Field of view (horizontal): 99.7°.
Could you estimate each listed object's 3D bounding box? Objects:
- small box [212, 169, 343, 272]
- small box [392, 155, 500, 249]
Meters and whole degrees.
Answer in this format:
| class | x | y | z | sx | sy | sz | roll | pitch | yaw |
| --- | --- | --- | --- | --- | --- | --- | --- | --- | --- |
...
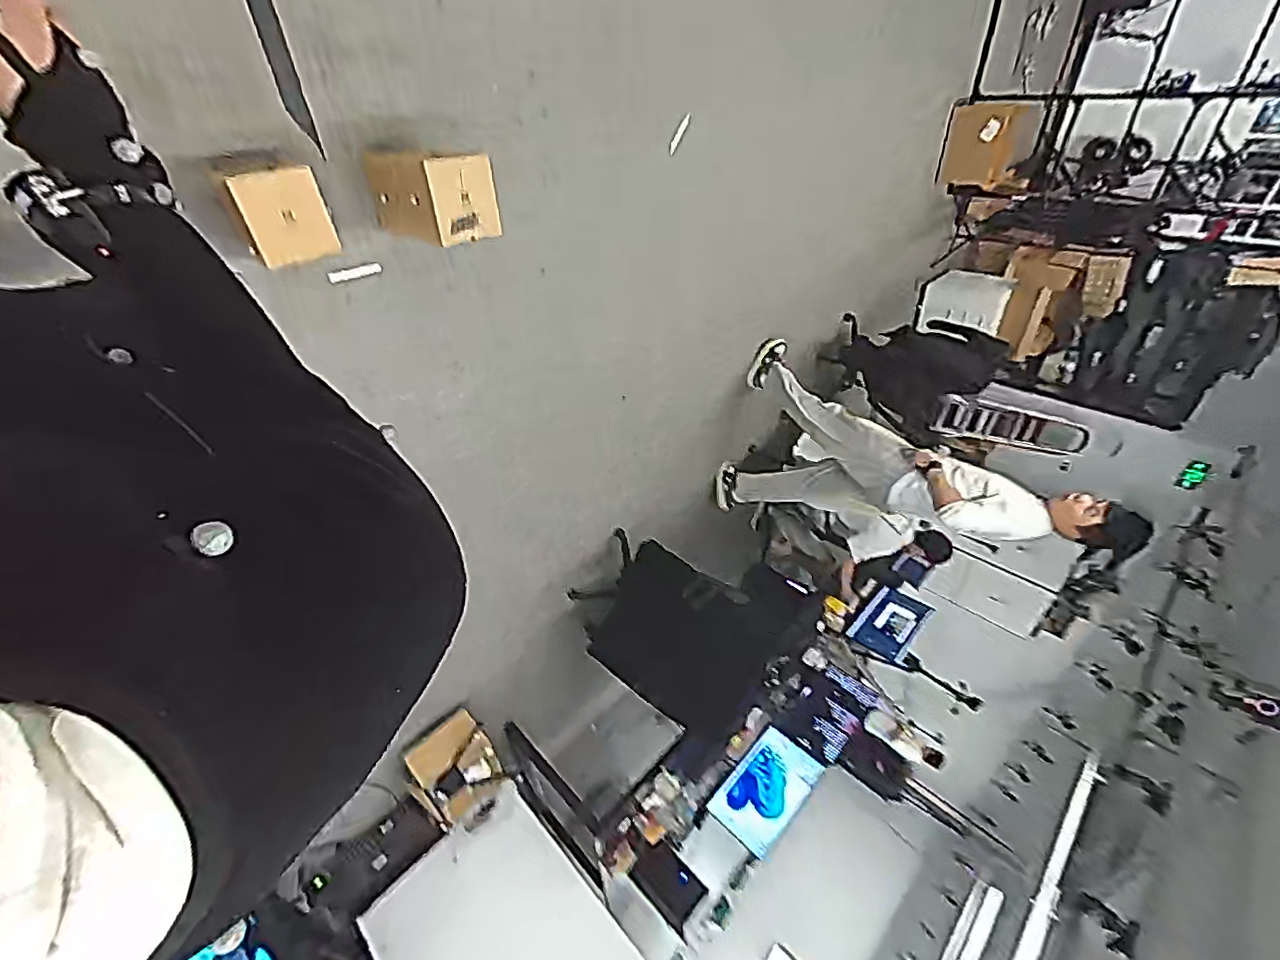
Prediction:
| class | x | y | z | sx | sy | sz | roll | pitch | yaw |
| --- | --- | --- | --- | --- | --- | --- | --- | --- | --- |
| small box | -0.815 | -0.589 | 1.215 | 0.168 | 0.176 | 0.179 | -35 | 136 | -31 |
| small box | -0.464 | -0.673 | 1.300 | 0.168 | 0.176 | 0.179 | -32 | 134 | -34 |
